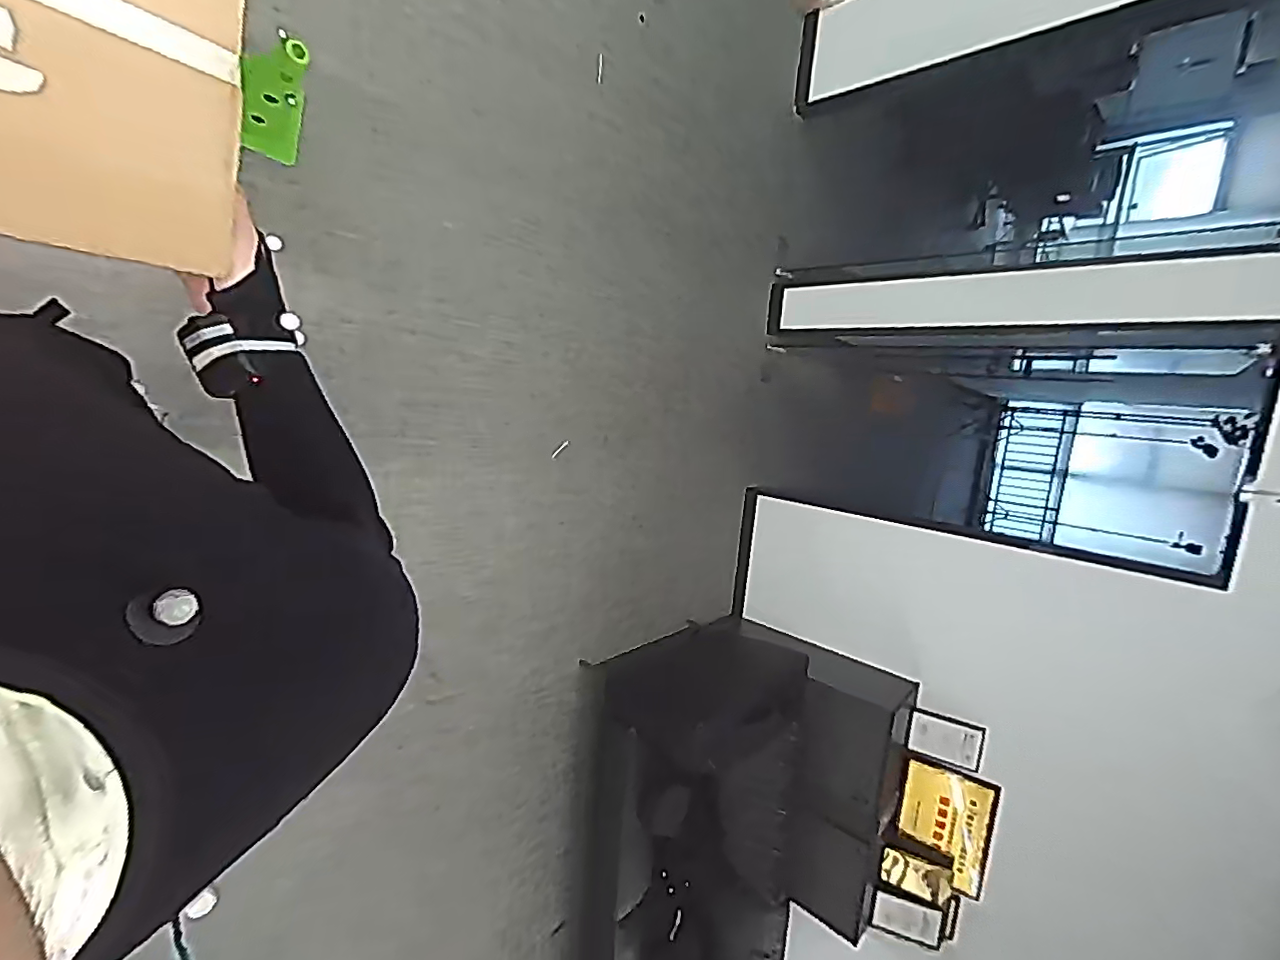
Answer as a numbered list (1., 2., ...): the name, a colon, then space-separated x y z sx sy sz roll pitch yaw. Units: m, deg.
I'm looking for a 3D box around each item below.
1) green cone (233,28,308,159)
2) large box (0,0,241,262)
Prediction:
1. green cone: -0.793 -0.870 1.162 0.200 0.368 0.202 5 94 -49
2. large box: -0.547 -0.370 0.347 0.408 0.320 0.320 -6 119 -52
